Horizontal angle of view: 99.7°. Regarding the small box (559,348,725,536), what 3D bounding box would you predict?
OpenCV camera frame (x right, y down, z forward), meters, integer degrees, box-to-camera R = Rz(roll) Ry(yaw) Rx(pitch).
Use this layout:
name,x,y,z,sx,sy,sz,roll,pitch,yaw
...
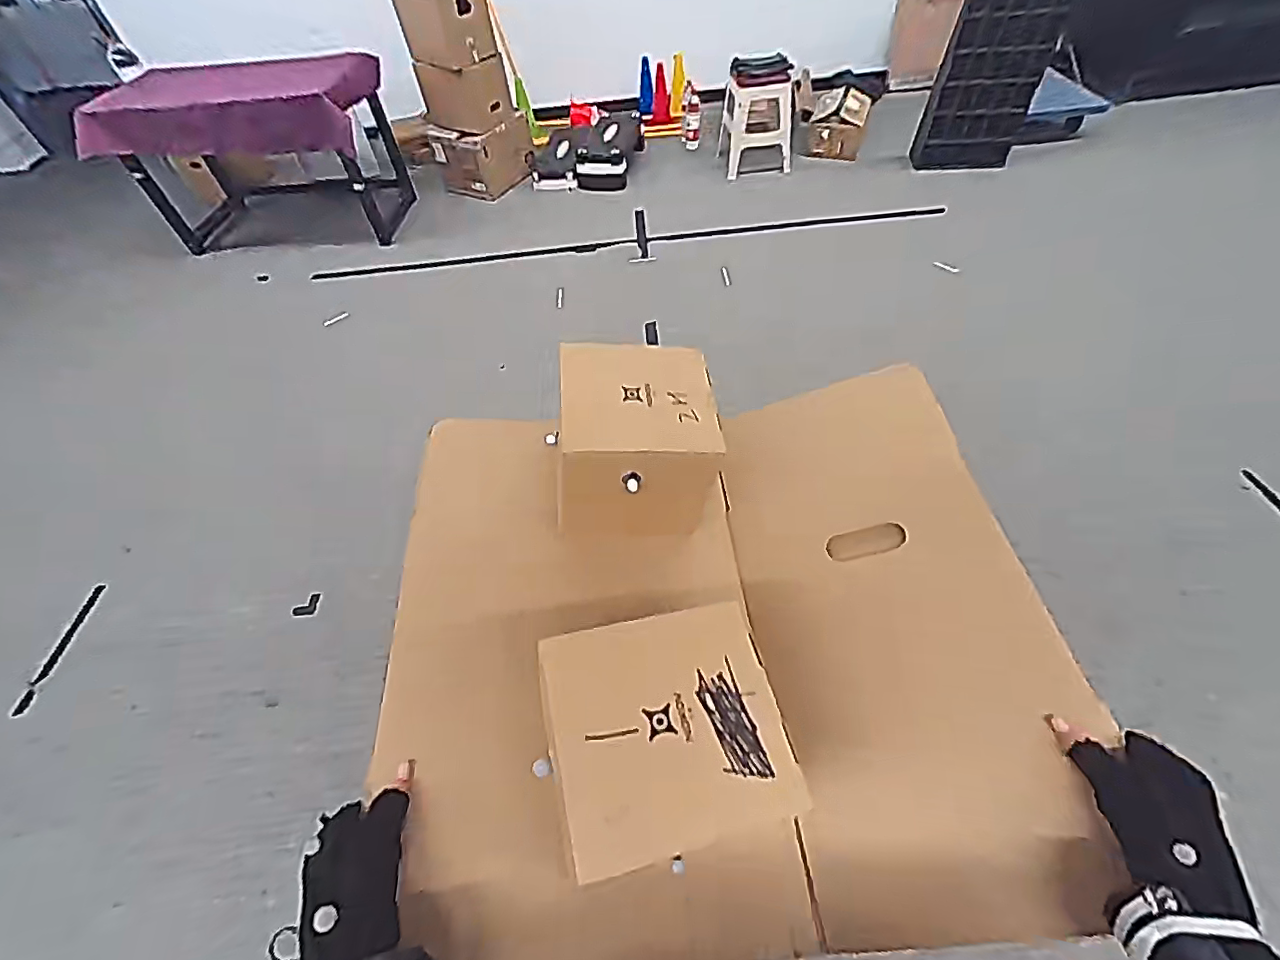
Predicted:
name,x,y,z,sx,sy,sz,roll,pitch,yaw
small box,-0.011,-0.041,0.666,0.179,0.176,0.168,1,55,-10

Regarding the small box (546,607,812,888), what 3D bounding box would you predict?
name,x,y,z,sx,sy,sz,roll,pitch,yaw
small box,0.014,0.232,0.477,0.179,0.176,0.168,-8,57,-14
